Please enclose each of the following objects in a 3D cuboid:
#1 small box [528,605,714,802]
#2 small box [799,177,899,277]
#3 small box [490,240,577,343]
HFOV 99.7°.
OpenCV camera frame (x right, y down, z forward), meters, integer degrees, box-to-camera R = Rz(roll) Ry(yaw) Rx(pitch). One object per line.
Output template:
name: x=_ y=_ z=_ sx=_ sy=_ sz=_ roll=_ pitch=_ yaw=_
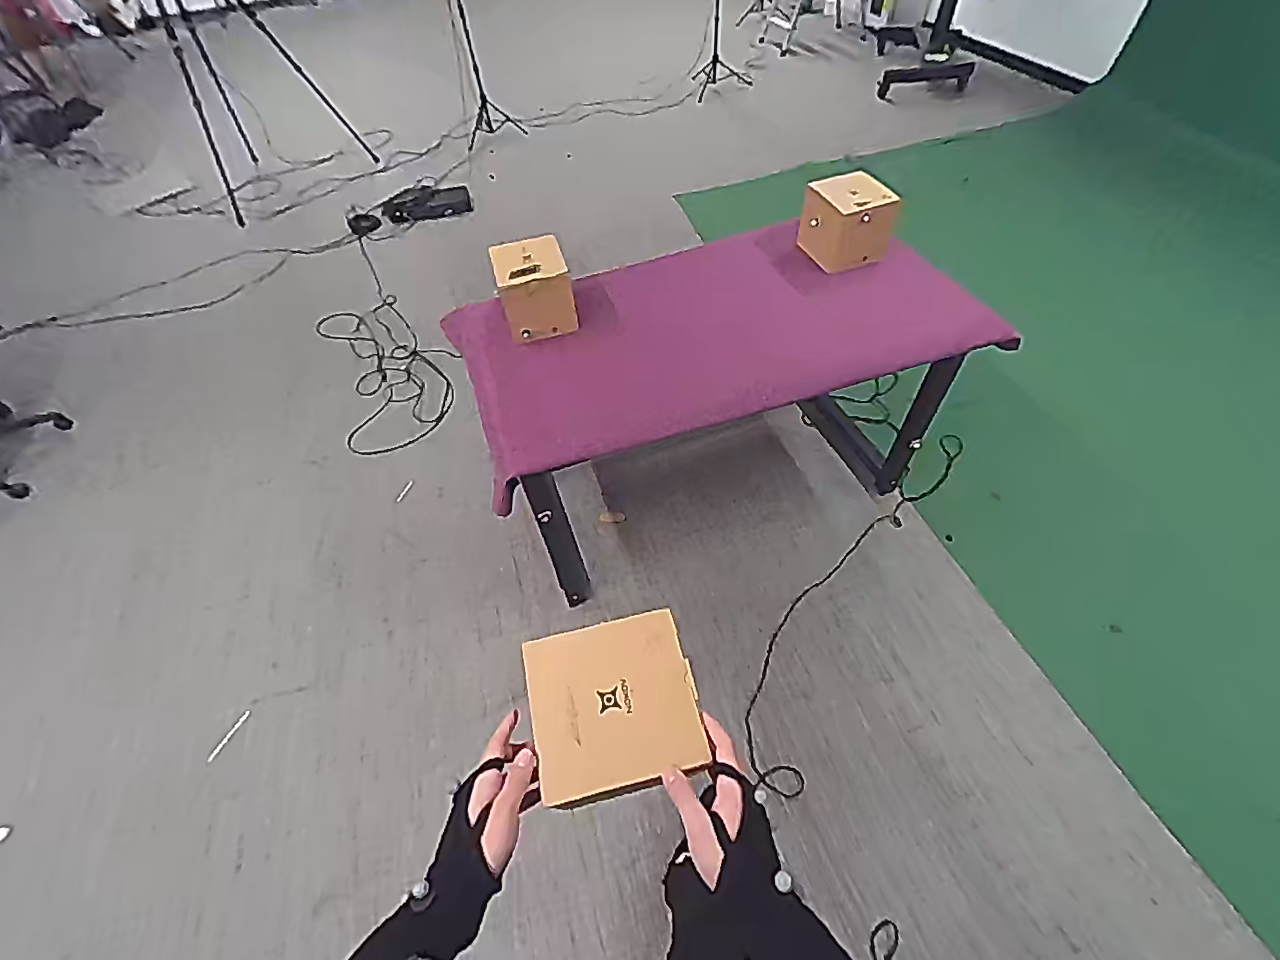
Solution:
small box: x=-0.024 y=0.269 z=0.641 sx=0.179 sy=0.176 sz=0.168 roll=-12 pitch=57 yaw=-5
small box: x=0.546 y=-0.673 z=1.444 sx=0.168 sy=0.176 sz=0.179 roll=-19 pitch=53 yaw=-9
small box: x=-0.260 y=-0.460 z=1.342 sx=0.168 sy=0.176 sz=0.179 roll=-15 pitch=54 yaw=-8
